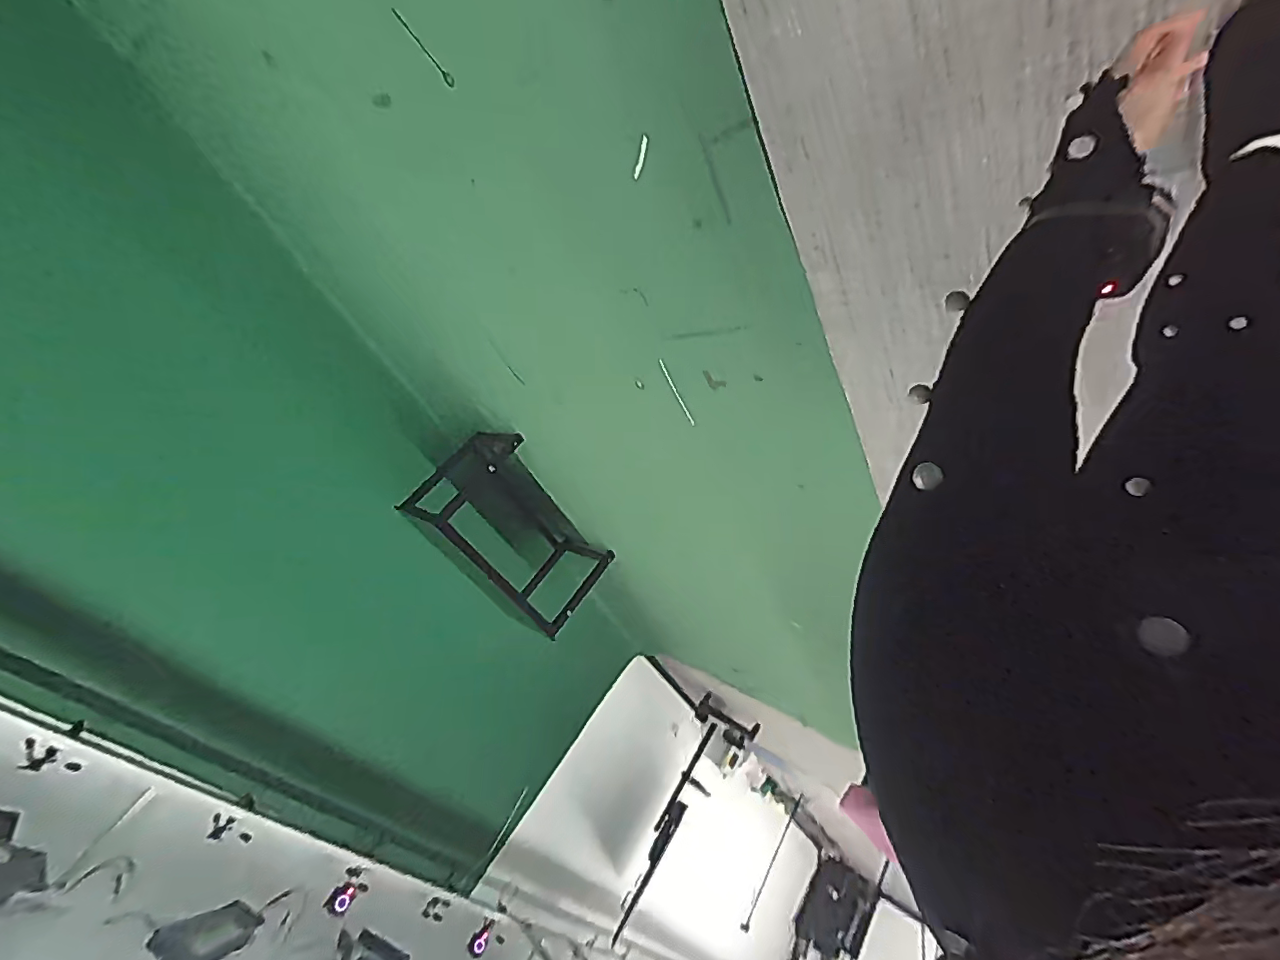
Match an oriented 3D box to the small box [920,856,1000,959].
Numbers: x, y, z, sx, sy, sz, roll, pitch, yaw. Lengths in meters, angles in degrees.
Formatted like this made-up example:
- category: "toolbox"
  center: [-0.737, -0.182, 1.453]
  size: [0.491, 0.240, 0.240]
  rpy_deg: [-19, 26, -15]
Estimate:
- category: "small box"
  center: [0.985, 1.304, 1.657]
  size: [0.168, 0.176, 0.179]
  rpy_deg: [10, 142, 45]
